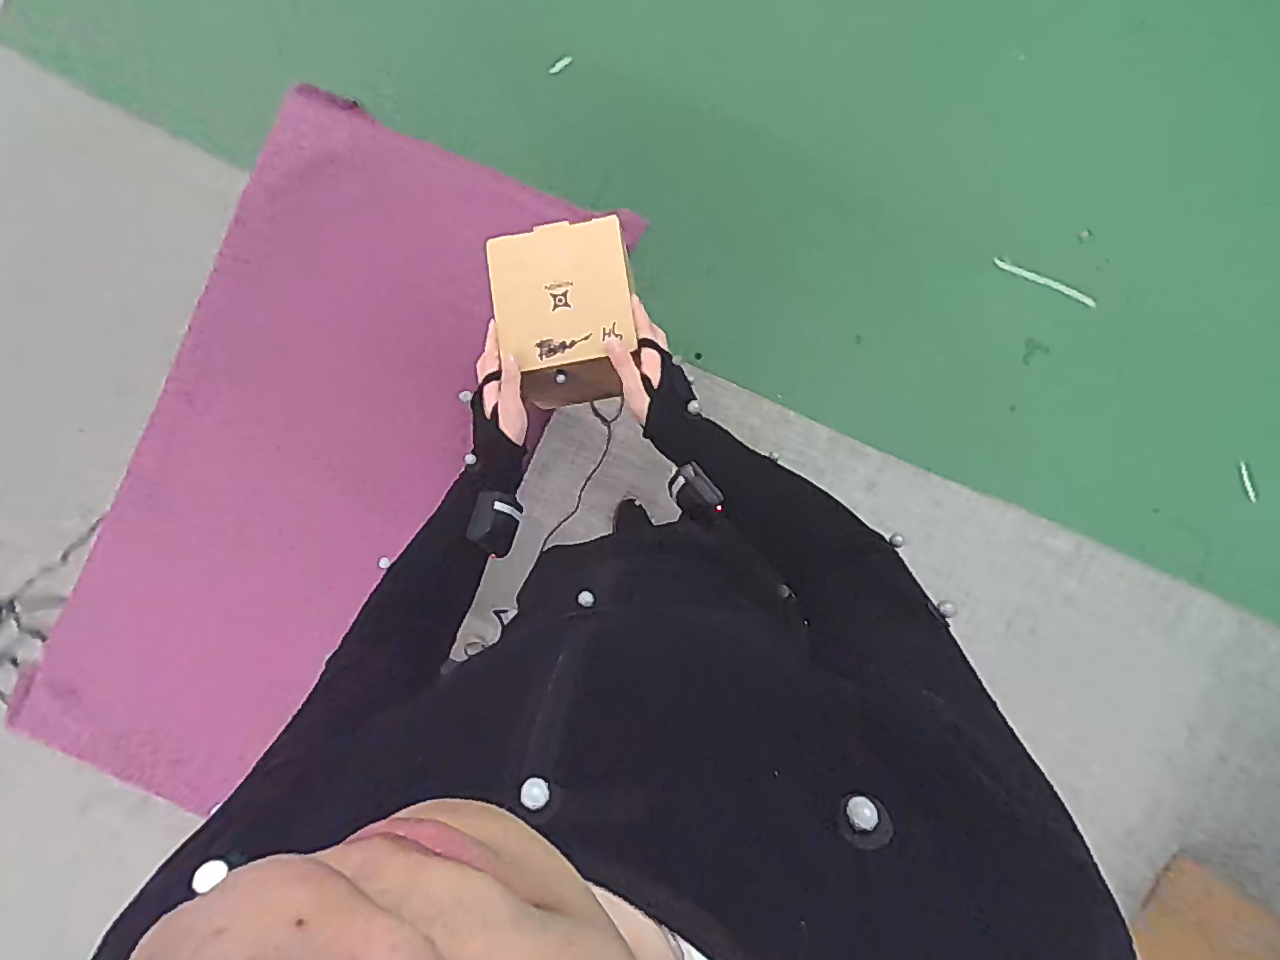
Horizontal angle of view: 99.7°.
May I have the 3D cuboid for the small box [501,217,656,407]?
[{"bbox_3d":[-0.073,-0.210,0.719,0.168,0.176,0.179,-8,83,5],"label":"small box"}]
